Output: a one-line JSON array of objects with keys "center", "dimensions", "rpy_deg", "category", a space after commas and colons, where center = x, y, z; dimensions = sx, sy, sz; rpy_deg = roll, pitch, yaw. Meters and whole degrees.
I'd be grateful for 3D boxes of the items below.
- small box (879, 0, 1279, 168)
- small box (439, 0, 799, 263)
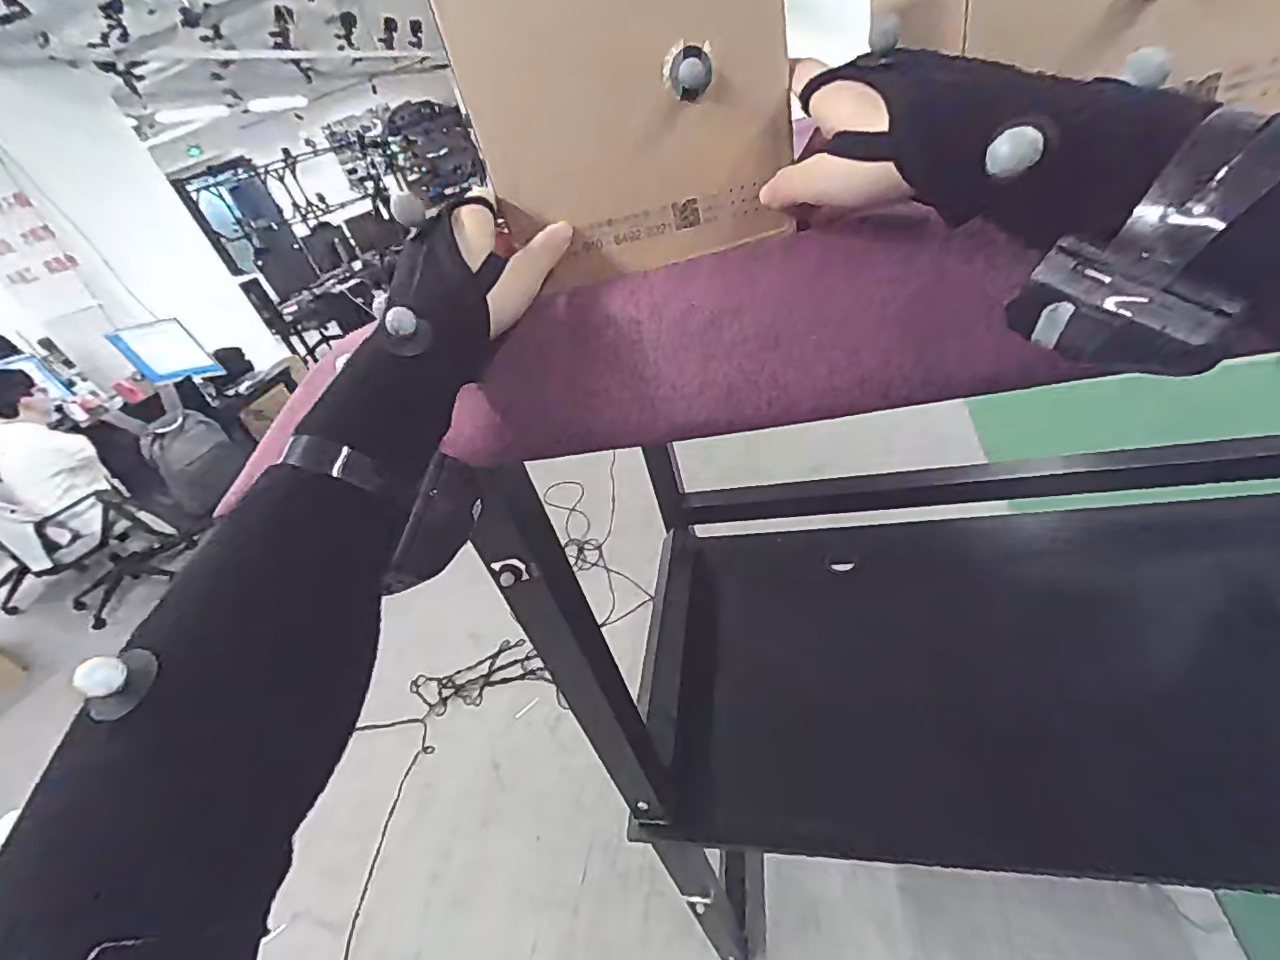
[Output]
[{"center": [0.233, -0.283, 0.286], "dimensions": [0.168, 0.176, 0.179], "rpy_deg": [-8, 36, 12], "category": "small box"}, {"center": [0.001, -0.251, 0.341], "dimensions": [0.168, 0.176, 0.179], "rpy_deg": [-8, 35, 10], "category": "small box"}]
